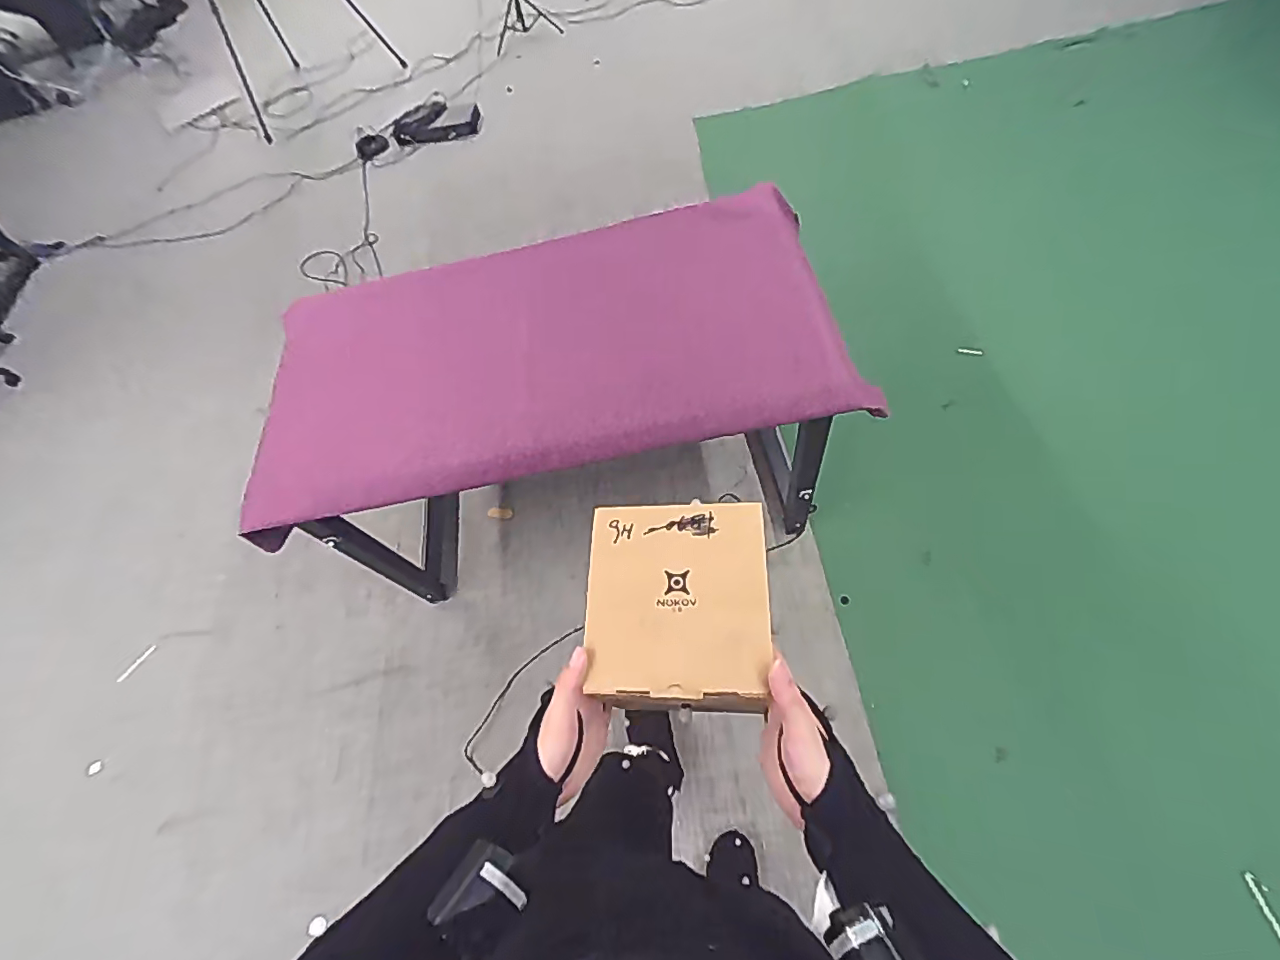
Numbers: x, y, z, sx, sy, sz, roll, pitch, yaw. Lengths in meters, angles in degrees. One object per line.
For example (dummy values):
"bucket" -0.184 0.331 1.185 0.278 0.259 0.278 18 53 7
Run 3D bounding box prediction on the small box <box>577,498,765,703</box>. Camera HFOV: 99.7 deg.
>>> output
"small box" 0.041 0.133 0.561 0.168 0.176 0.179 -3 63 9
